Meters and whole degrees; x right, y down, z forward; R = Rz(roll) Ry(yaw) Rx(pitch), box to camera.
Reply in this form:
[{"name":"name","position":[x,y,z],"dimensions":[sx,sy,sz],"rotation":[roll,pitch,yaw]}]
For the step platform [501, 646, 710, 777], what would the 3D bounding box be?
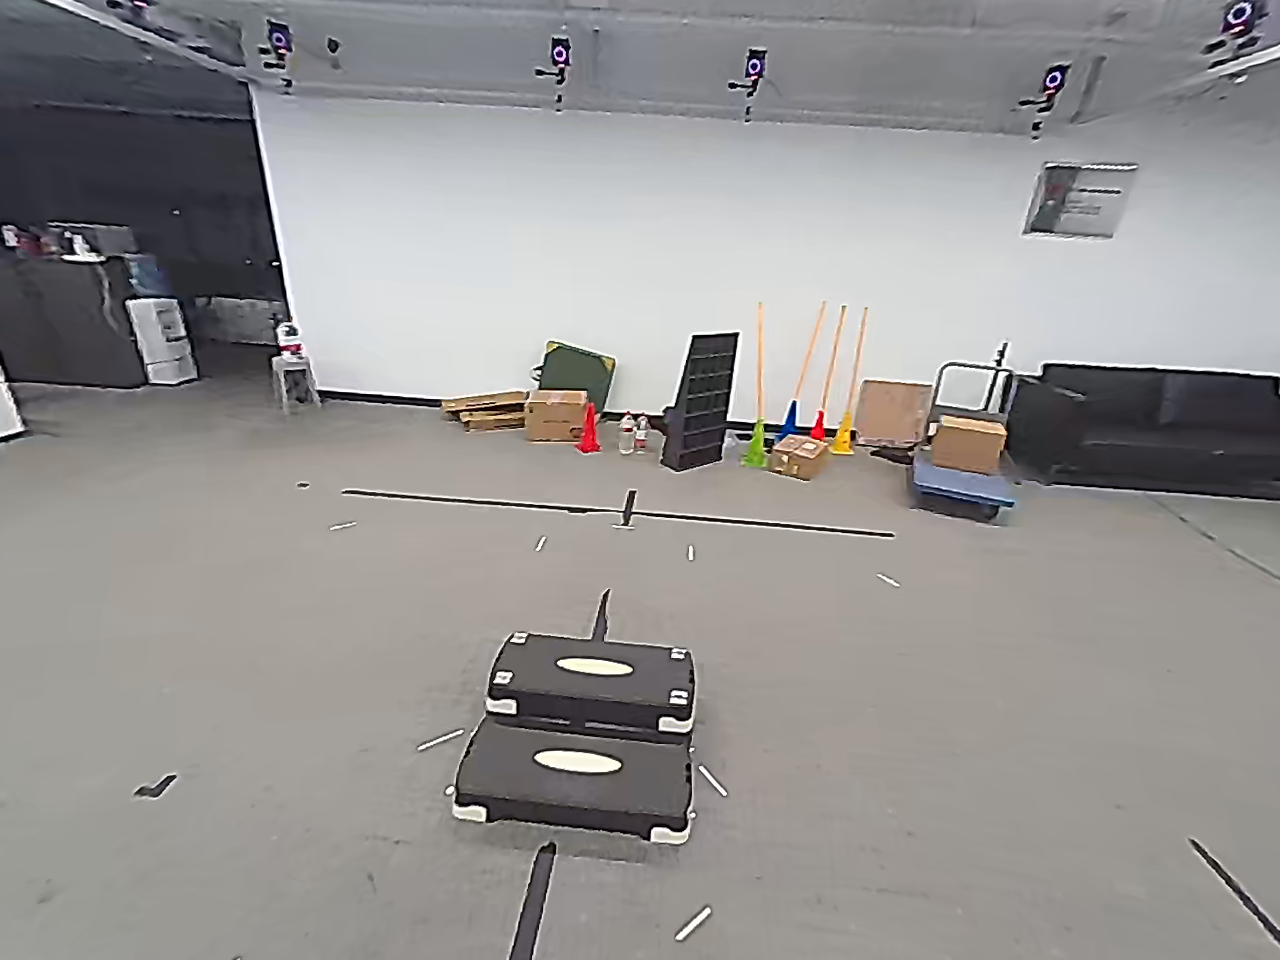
[{"name":"step platform","position":[-0.109,0.760,1.815],"dimensions":[0.684,0.204,0.286],"rotation":[7,22,7]}]
